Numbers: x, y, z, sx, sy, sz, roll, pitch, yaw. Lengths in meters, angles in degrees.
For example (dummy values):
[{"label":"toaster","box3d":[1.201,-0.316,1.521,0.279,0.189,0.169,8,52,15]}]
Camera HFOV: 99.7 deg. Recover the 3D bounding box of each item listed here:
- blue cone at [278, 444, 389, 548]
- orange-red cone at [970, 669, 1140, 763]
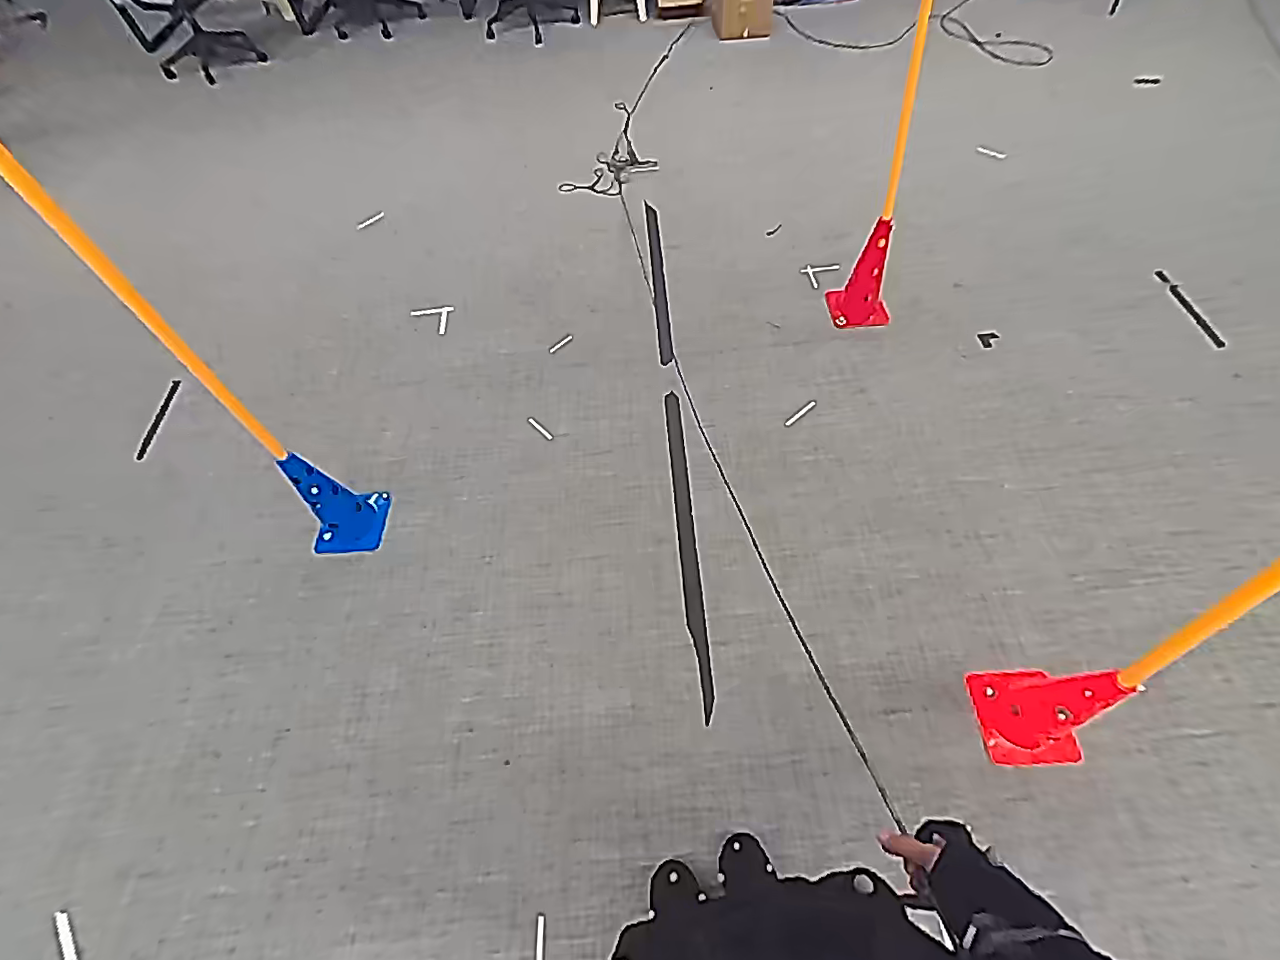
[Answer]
[{"label":"blue cone","box3d":[-0.885,0.033,1.516,0.193,0.380,0.192,-2,57,3]},{"label":"orange-red cone","box3d":[0.863,0.443,1.087,0.198,0.360,0.199,-2,58,3]}]
